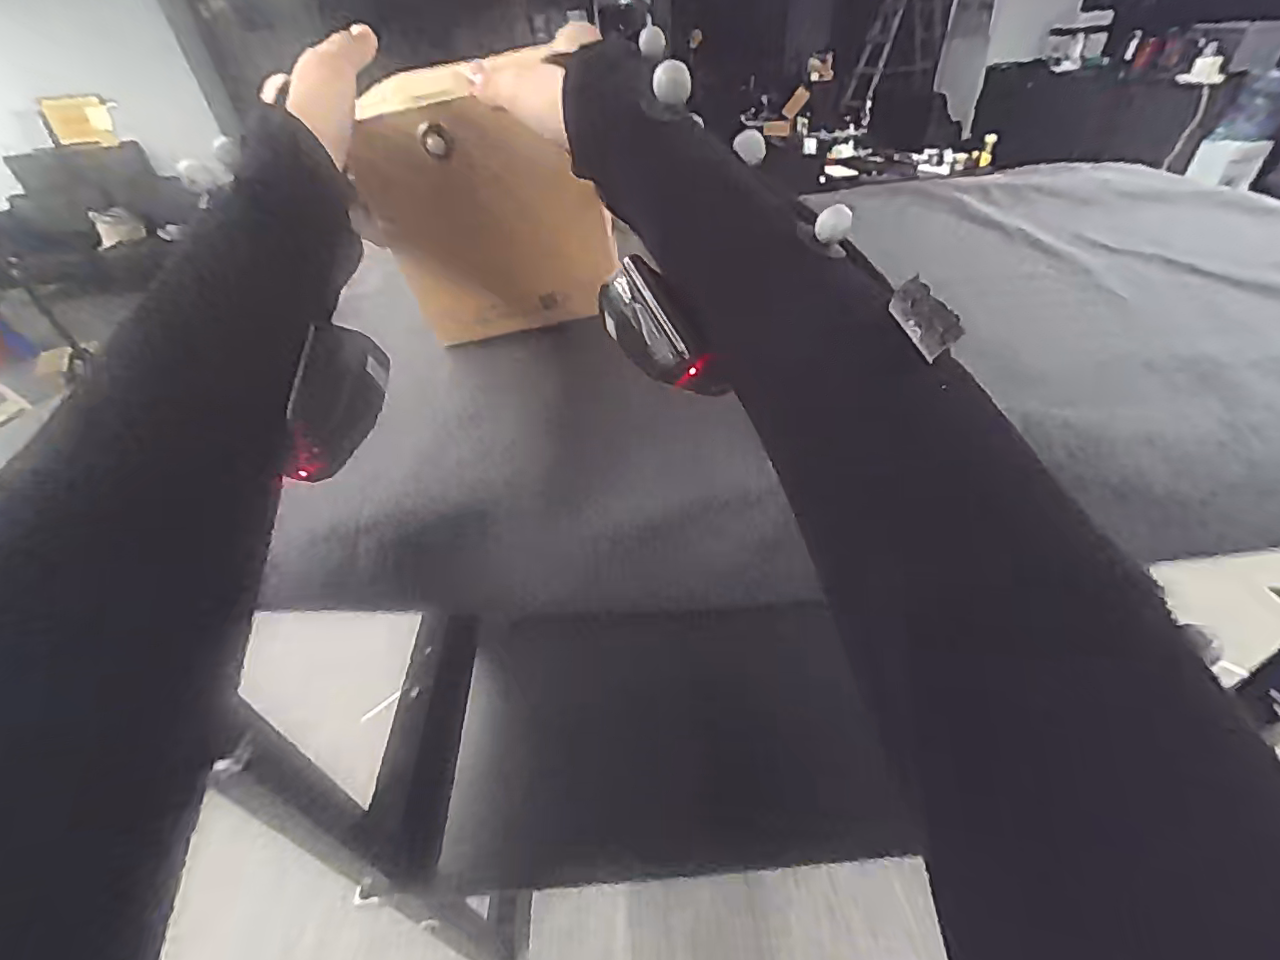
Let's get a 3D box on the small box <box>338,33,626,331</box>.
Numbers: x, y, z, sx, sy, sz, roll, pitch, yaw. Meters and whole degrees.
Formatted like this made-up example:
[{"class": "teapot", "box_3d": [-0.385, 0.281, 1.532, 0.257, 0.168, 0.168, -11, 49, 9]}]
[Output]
[{"class": "small box", "box_3d": [-0.109, -0.251, 0.460, 0.168, 0.176, 0.179, -10, 44, 4]}]
